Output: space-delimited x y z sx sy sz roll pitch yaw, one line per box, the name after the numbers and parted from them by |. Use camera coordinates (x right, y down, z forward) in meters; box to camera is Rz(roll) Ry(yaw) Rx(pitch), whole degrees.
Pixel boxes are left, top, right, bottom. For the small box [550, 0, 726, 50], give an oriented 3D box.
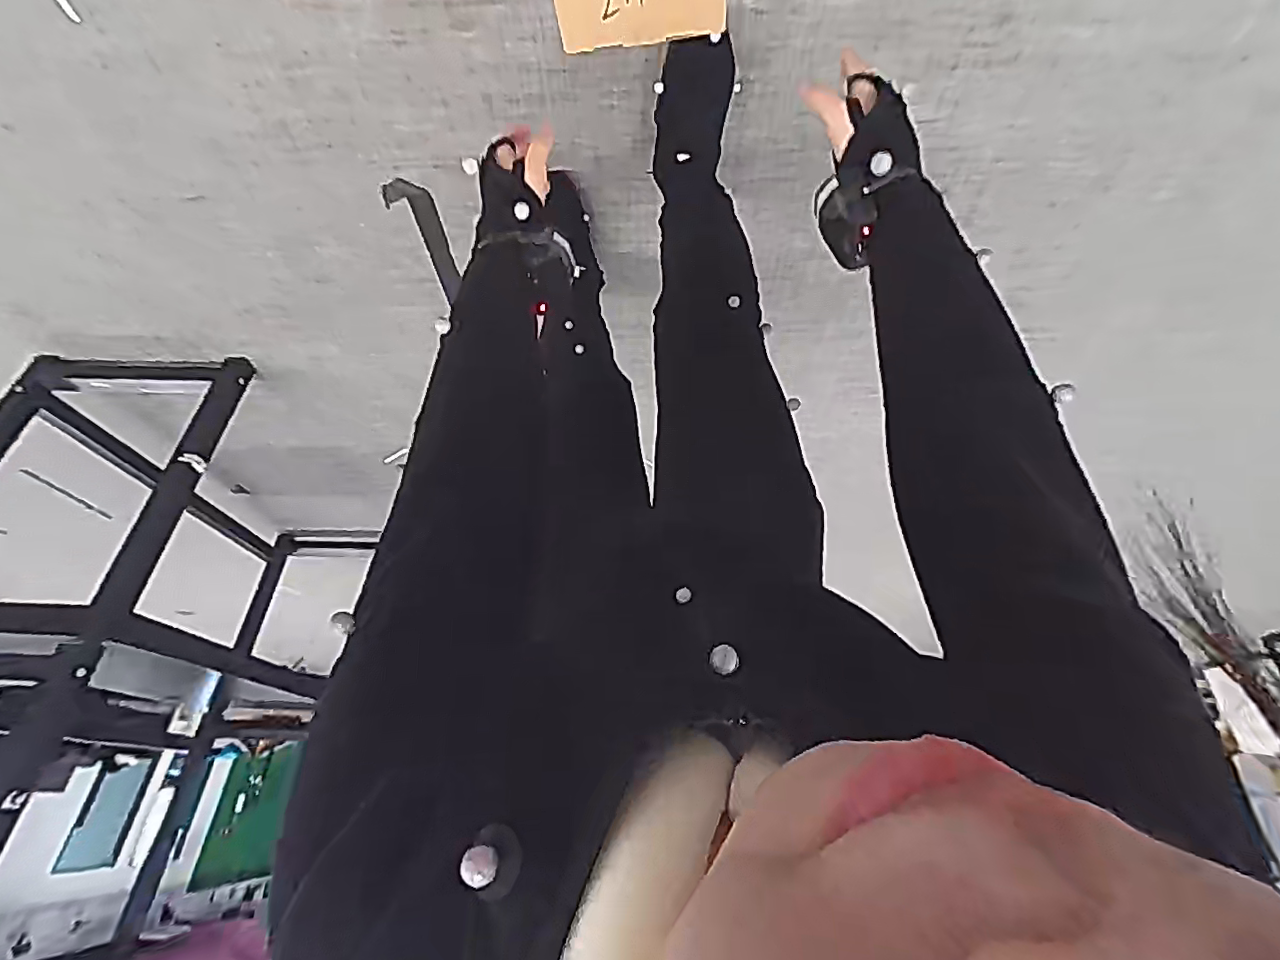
-0.007 -0.543 0.497 0.168 0.176 0.179 -2 150 7 | small box
